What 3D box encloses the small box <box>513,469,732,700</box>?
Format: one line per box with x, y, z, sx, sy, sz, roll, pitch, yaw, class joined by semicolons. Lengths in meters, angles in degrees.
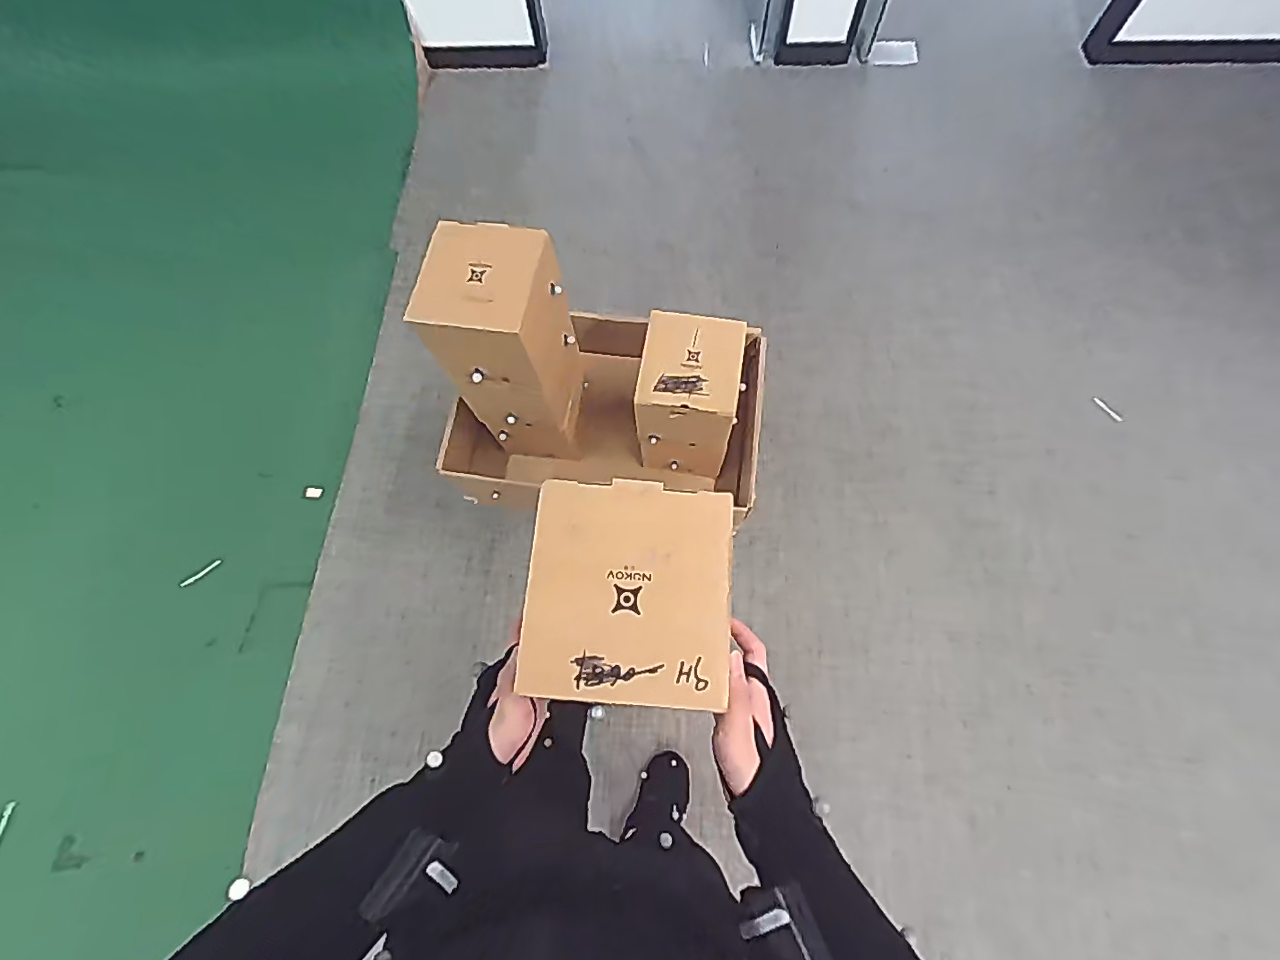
-0.010;0.104;0.512;0.168;0.176;0.179;4;72;2;small box

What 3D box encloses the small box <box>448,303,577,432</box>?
-0.218;-0.208;0.981;0.168;0.176;0.179;8;72;6;small box

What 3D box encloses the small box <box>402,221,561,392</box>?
-0.226;-0.259;0.826;0.168;0.176;0.179;8;72;7;small box

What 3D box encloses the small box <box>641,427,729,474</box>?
0.096;-0.128;1.112;0.168;0.176;0.179;7;73;5;small box

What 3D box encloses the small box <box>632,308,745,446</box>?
0.084;-0.173;0.954;0.168;0.176;0.179;8;73;5;small box
